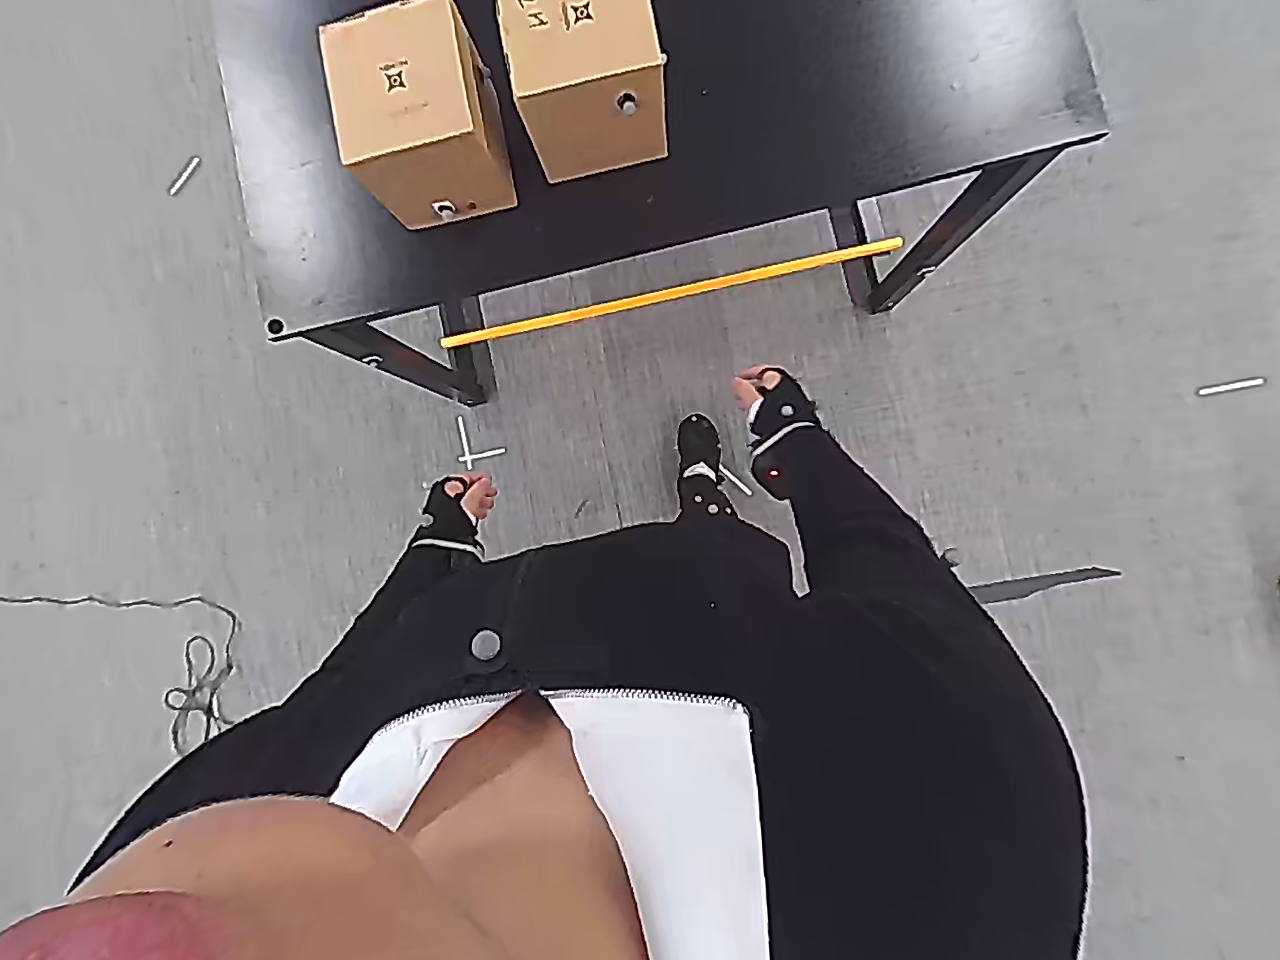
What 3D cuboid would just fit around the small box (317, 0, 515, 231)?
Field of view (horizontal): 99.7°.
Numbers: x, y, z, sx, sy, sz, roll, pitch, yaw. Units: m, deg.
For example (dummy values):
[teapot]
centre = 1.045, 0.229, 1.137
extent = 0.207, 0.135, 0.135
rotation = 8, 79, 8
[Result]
[small box]
centre = -0.278, -0.463, 0.705
extent = 0.168, 0.176, 0.179
rotation = -12, 88, 5
